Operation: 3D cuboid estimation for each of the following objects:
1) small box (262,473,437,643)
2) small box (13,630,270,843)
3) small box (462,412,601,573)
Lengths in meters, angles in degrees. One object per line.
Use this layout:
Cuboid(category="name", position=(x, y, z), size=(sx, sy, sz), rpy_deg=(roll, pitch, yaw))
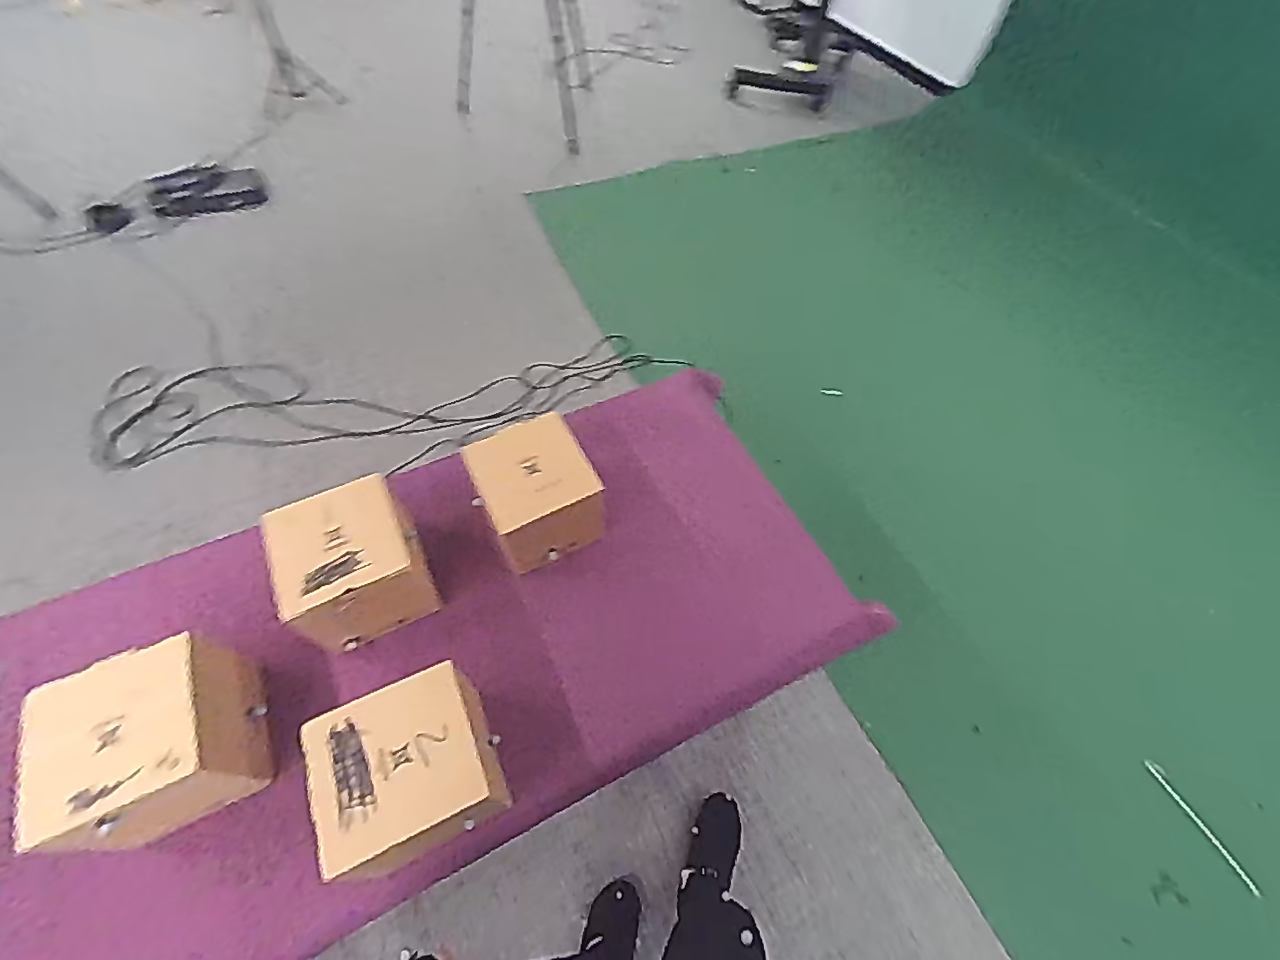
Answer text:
Cuboid(category="small box", position=(-0.427, 0.126, 0.816), size=(0.168, 0.176, 0.179), rpy_deg=(-23, 61, -18))
Cuboid(category="small box", position=(-0.599, 0.322, 0.674), size=(0.168, 0.176, 0.179), rpy_deg=(-22, 61, -16))
Cuboid(category="small box", position=(-0.175, 0.024, 0.900), size=(0.168, 0.176, 0.179), rpy_deg=(-24, 62, -17))
